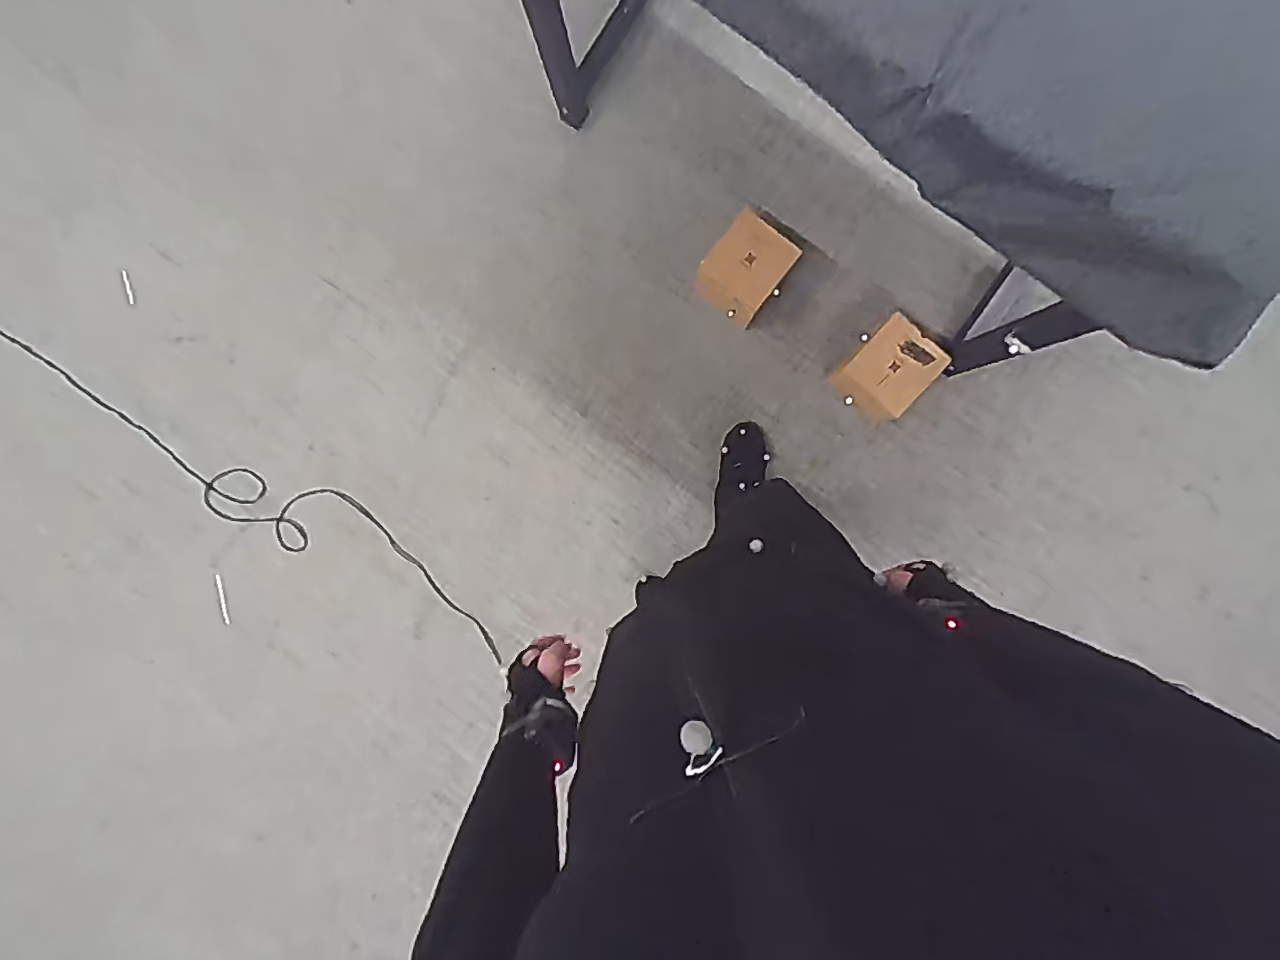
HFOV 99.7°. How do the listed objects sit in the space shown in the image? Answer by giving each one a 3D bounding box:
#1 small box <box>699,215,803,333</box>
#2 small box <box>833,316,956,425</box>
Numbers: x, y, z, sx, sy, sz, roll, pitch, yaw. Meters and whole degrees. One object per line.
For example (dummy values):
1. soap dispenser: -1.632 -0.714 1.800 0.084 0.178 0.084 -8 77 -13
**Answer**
1. small box: 0.256 -0.481 1.295 0.168 0.176 0.179 37 93 2
2. small box: 0.584 -0.249 1.270 0.168 0.176 0.179 41 95 3
